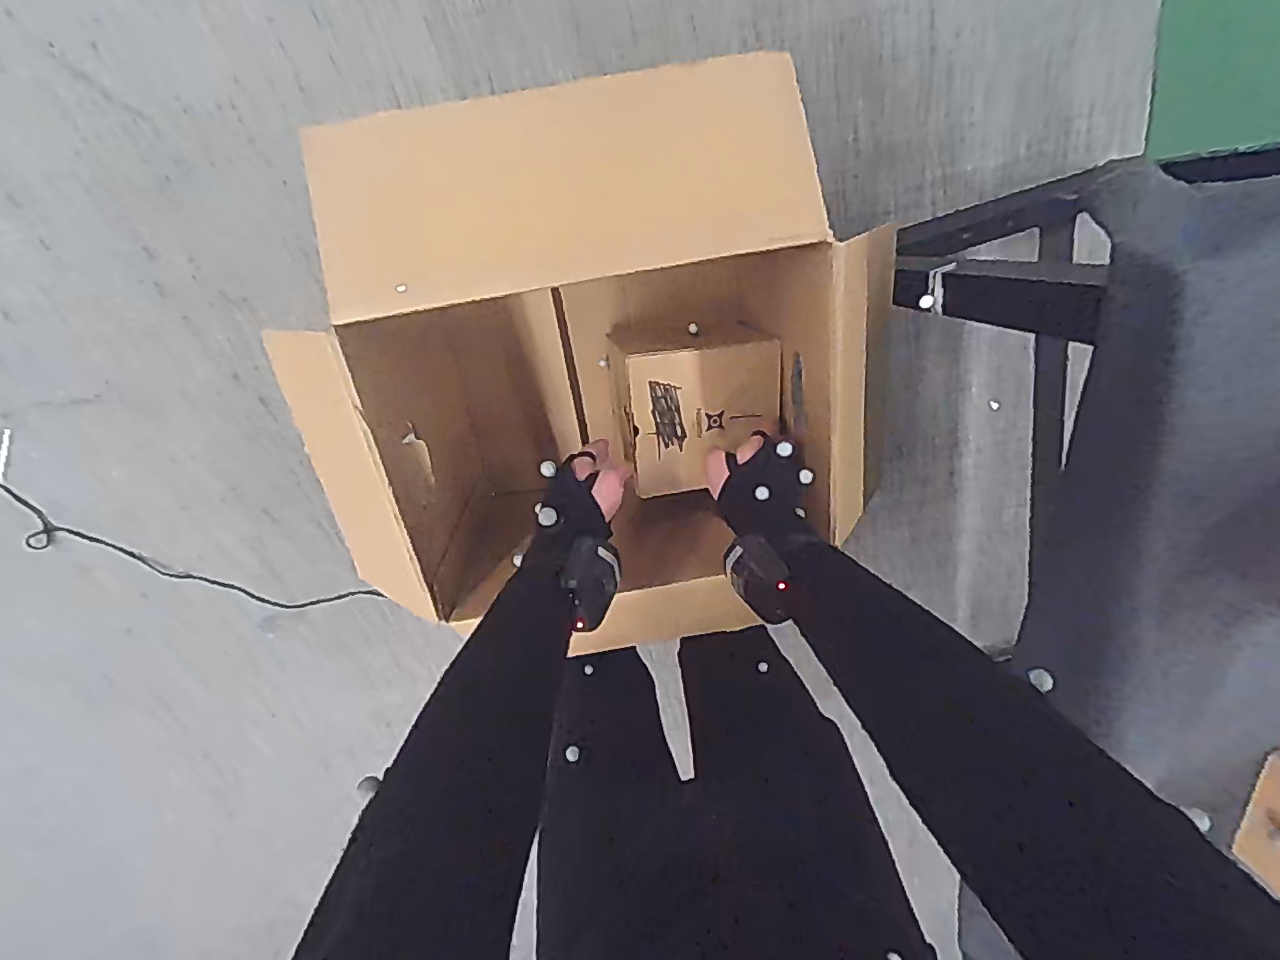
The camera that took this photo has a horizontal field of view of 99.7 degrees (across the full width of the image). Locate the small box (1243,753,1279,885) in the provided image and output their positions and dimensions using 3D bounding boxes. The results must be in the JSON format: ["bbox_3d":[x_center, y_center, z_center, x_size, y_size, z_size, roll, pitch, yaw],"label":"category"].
[{"bbox_3d":[0.744,0.361,0.506,0.168,0.176,0.179,-14,115,1],"label":"small box"}]
